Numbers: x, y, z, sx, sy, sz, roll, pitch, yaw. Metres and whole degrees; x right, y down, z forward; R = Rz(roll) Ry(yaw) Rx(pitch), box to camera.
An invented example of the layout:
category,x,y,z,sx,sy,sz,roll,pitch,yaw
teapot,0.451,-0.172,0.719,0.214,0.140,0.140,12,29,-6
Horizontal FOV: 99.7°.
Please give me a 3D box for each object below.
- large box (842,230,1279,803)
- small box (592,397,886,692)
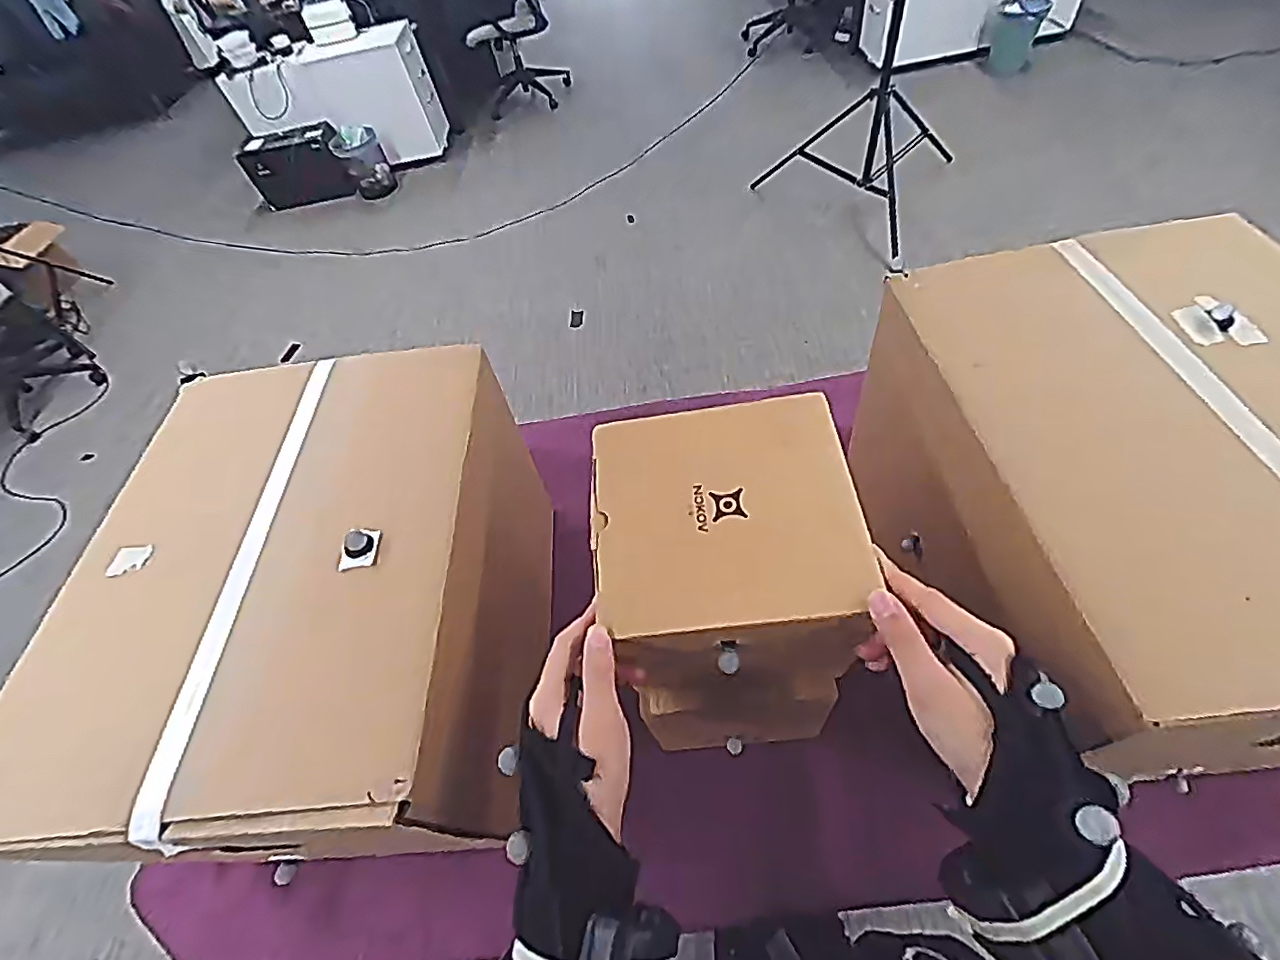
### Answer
category,x,y,z,sx,sy,sz,roll,pitch,yaw
large box,0.414,0.038,0.505,0.320,0.320,0.408,-8,52,4
small box,0.067,0.061,0.427,0.179,0.176,0.168,-9,57,8
